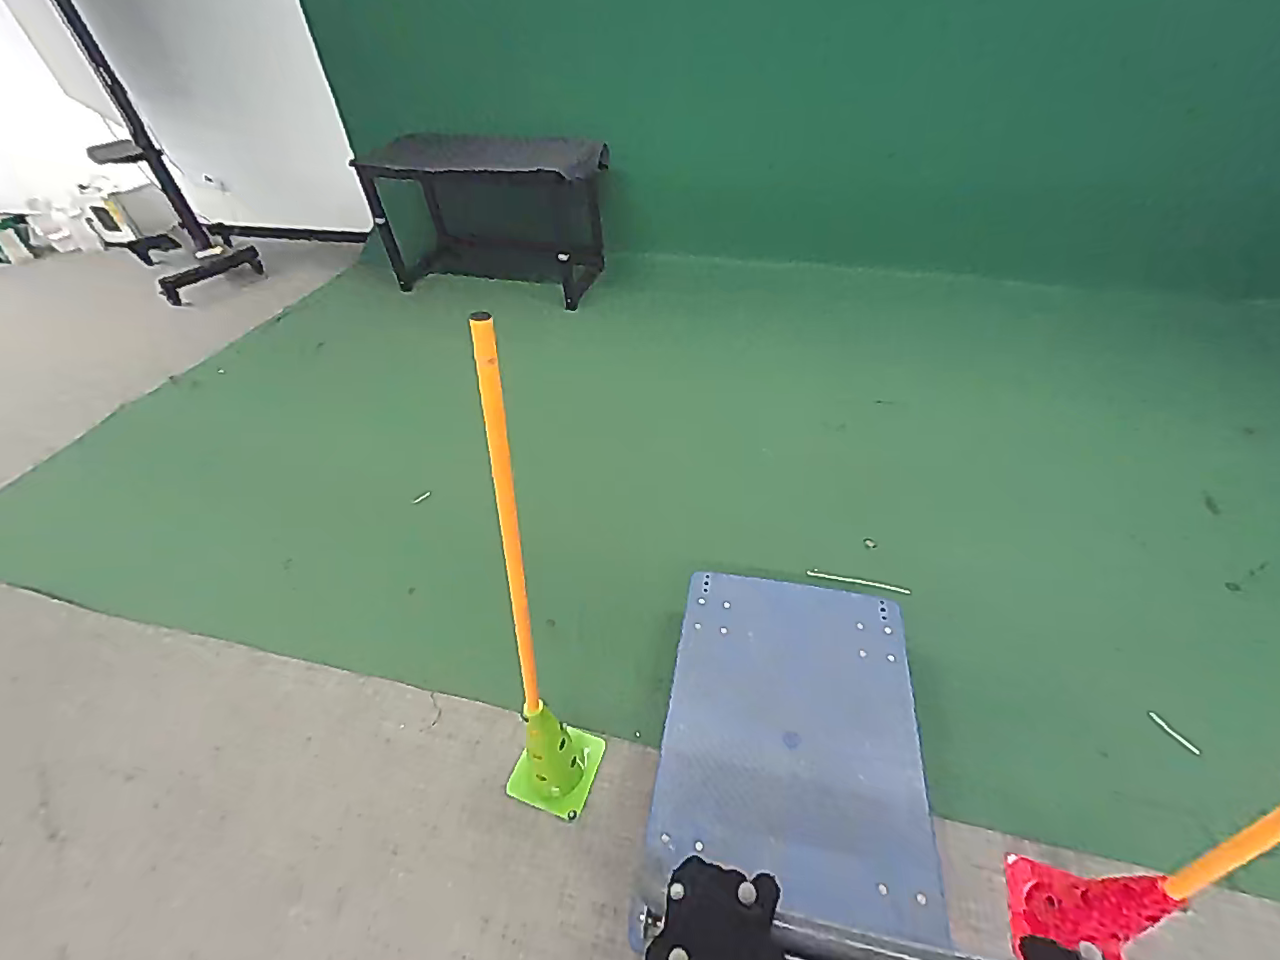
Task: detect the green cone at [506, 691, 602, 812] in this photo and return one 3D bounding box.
[{"bbox_3d":[-0.225,0.596,1.273,0.202,0.368,0.200,12,45,16],"label":"green cone"}]
